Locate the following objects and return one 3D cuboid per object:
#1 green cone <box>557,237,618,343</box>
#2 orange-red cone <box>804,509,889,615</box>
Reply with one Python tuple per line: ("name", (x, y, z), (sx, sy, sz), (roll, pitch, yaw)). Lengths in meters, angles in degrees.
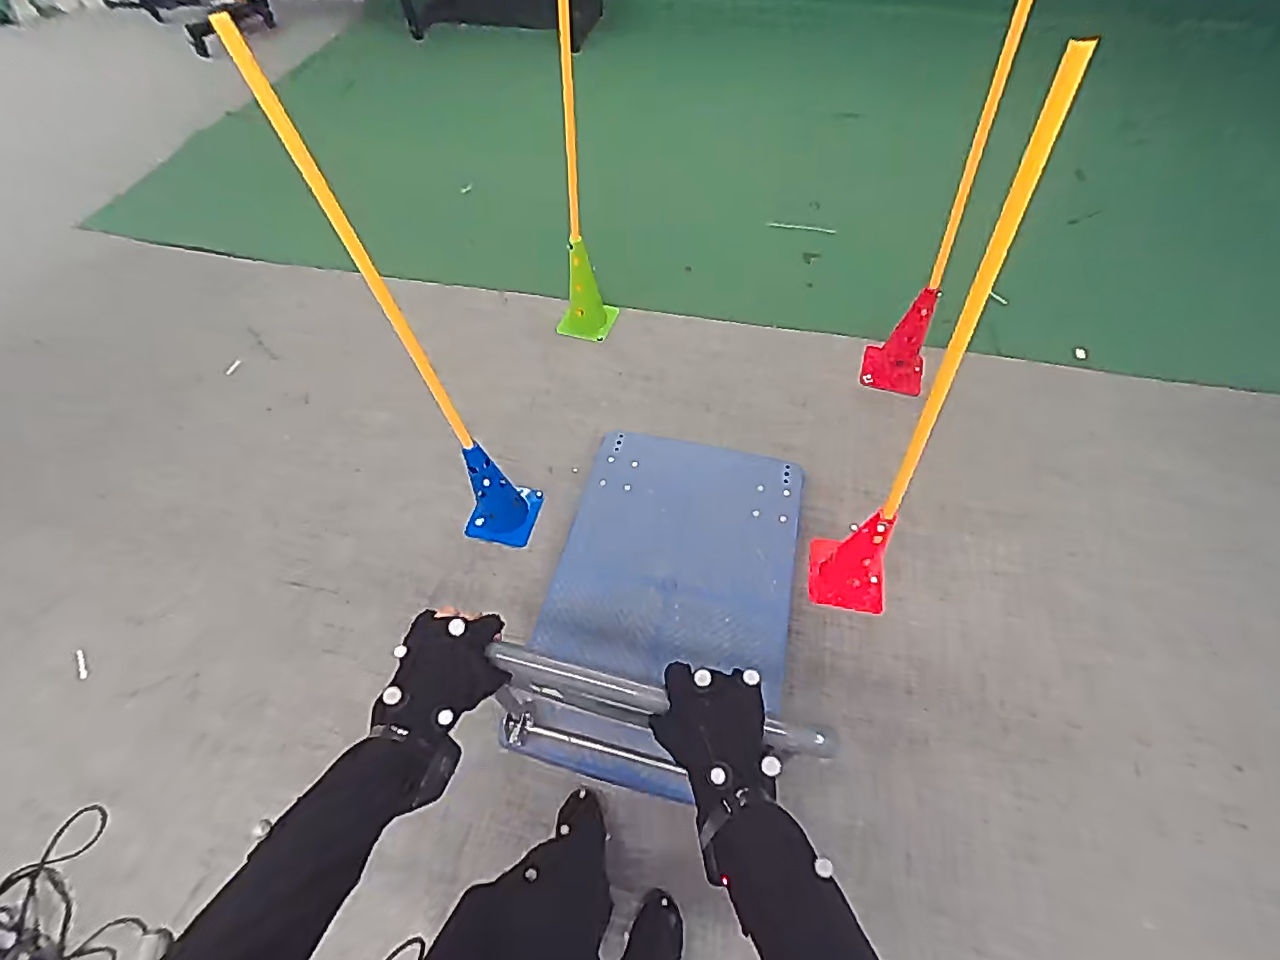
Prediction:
("green cone", (-0.213, -0.711, 1.972), (0.202, 0.368, 0.200), (14, 59, 12))
("orange-red cone", (0.555, 0.179, 1.373), (0.199, 0.360, 0.198), (9, 58, 11))
